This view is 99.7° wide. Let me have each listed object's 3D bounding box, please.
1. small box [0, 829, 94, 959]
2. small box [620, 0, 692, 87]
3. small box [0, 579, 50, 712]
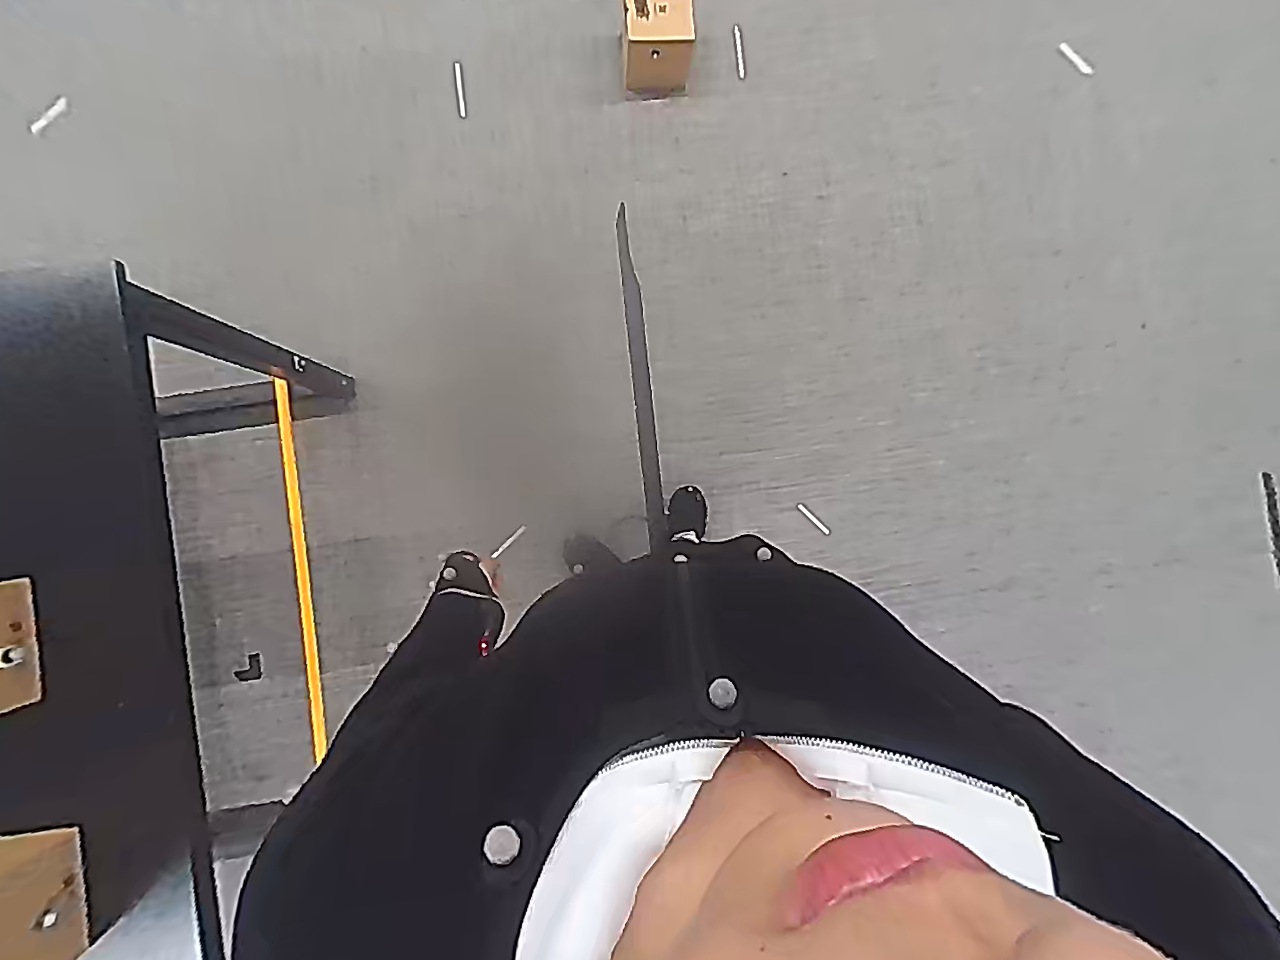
[{"bbox_3d":[-0.821,0.554,0.642,0.179,0.176,0.168,-6,89,-3],"label":"small box"},{"bbox_3d":[0.038,-1.197,1.455,0.179,0.176,0.168,-4,90,-5],"label":"small box"},{"bbox_3d":[-0.890,0.224,0.648,0.179,0.176,0.168,-8,91,-4],"label":"small box"}]
